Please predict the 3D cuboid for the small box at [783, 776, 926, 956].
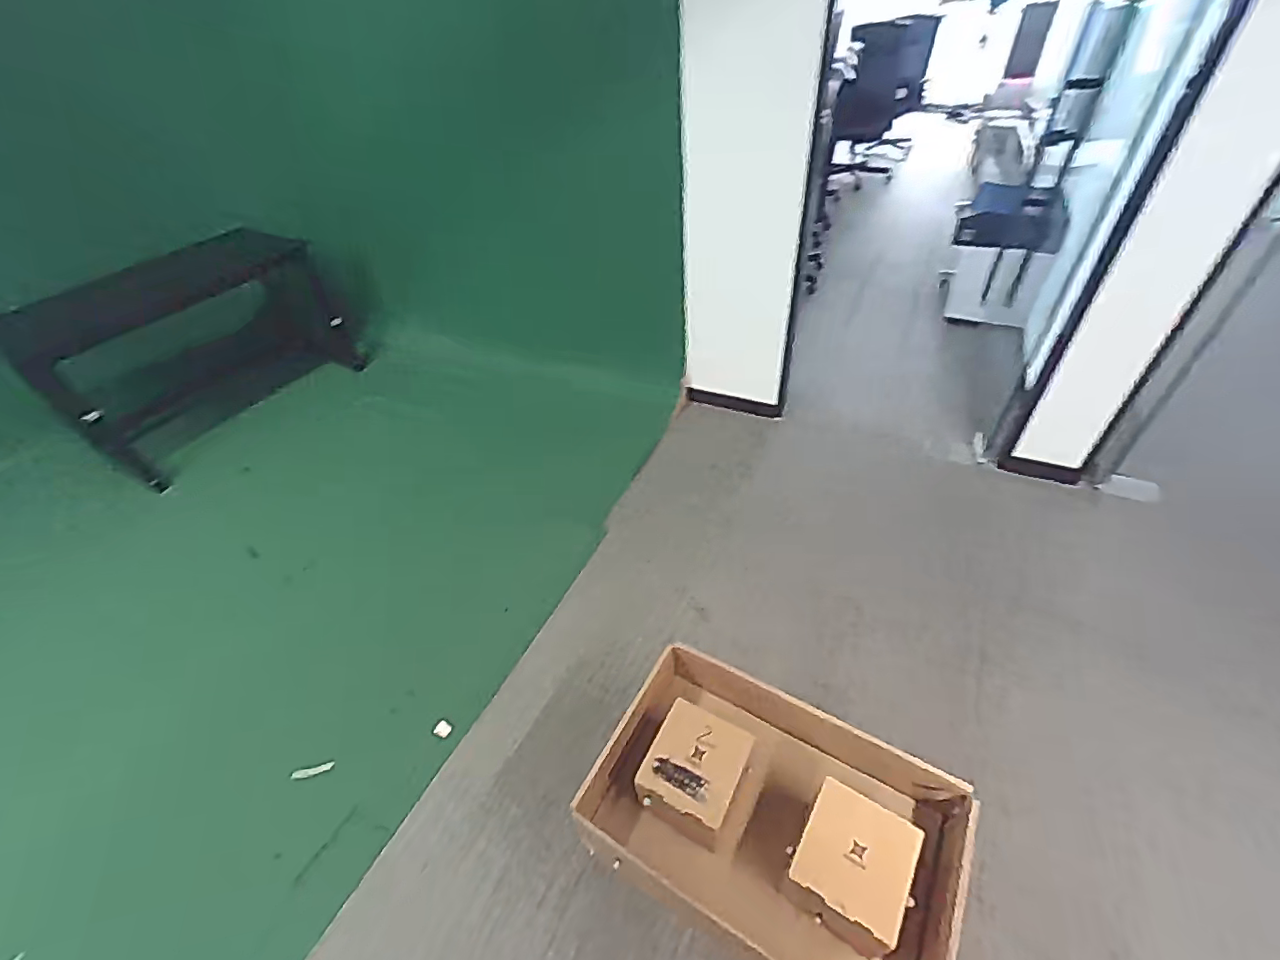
[{"bbox_3d":[0.355,0.652,0.916,0.168,0.176,0.179,22,51,26],"label":"small box"}]
